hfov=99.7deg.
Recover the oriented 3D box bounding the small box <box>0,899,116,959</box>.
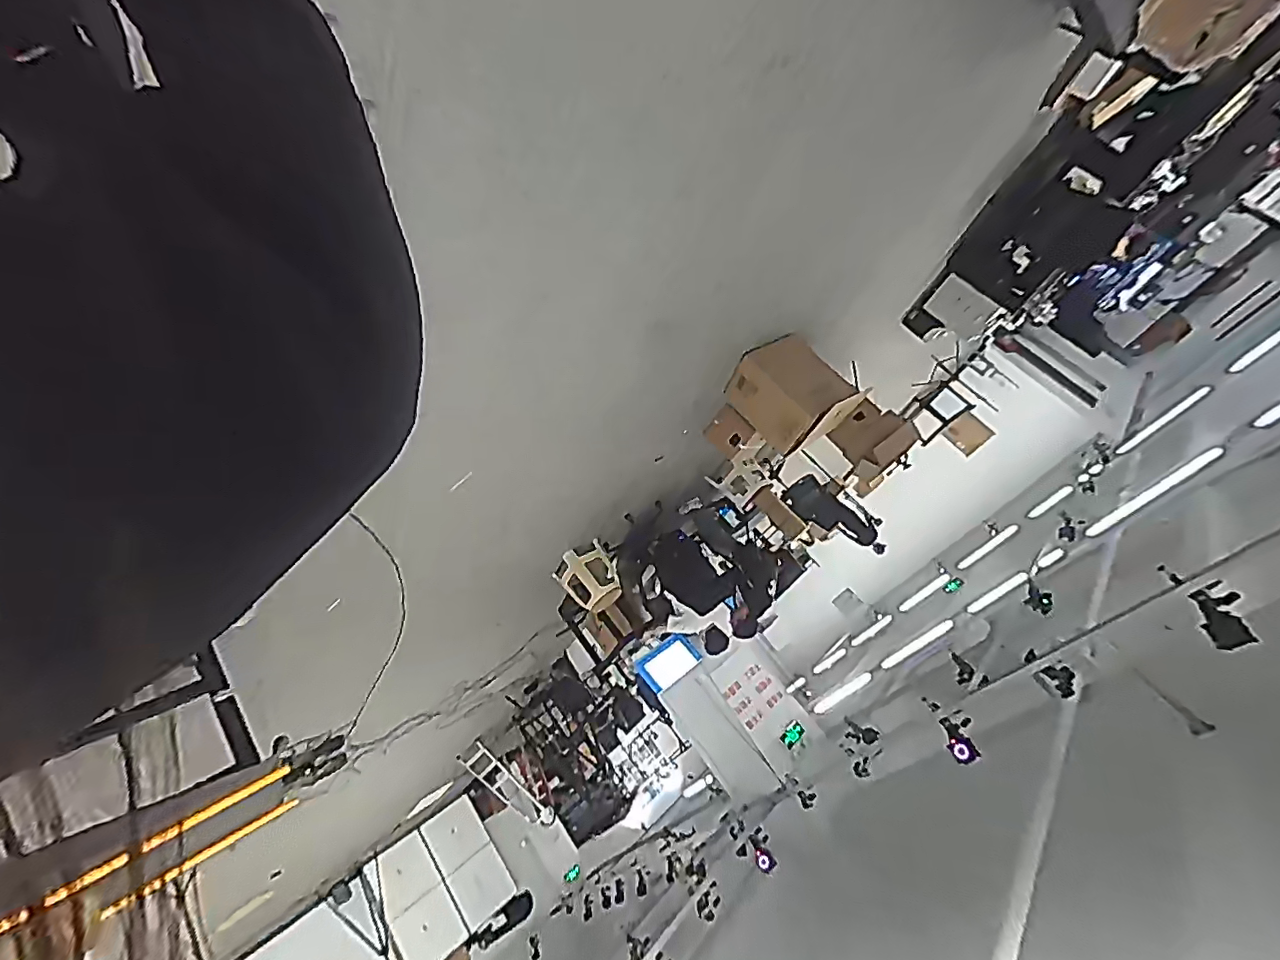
[{"bbox_3d":[-1.562,1.275,1.454,0.168,0.176,0.179,-24,154,-41],"label":"small box"}]
